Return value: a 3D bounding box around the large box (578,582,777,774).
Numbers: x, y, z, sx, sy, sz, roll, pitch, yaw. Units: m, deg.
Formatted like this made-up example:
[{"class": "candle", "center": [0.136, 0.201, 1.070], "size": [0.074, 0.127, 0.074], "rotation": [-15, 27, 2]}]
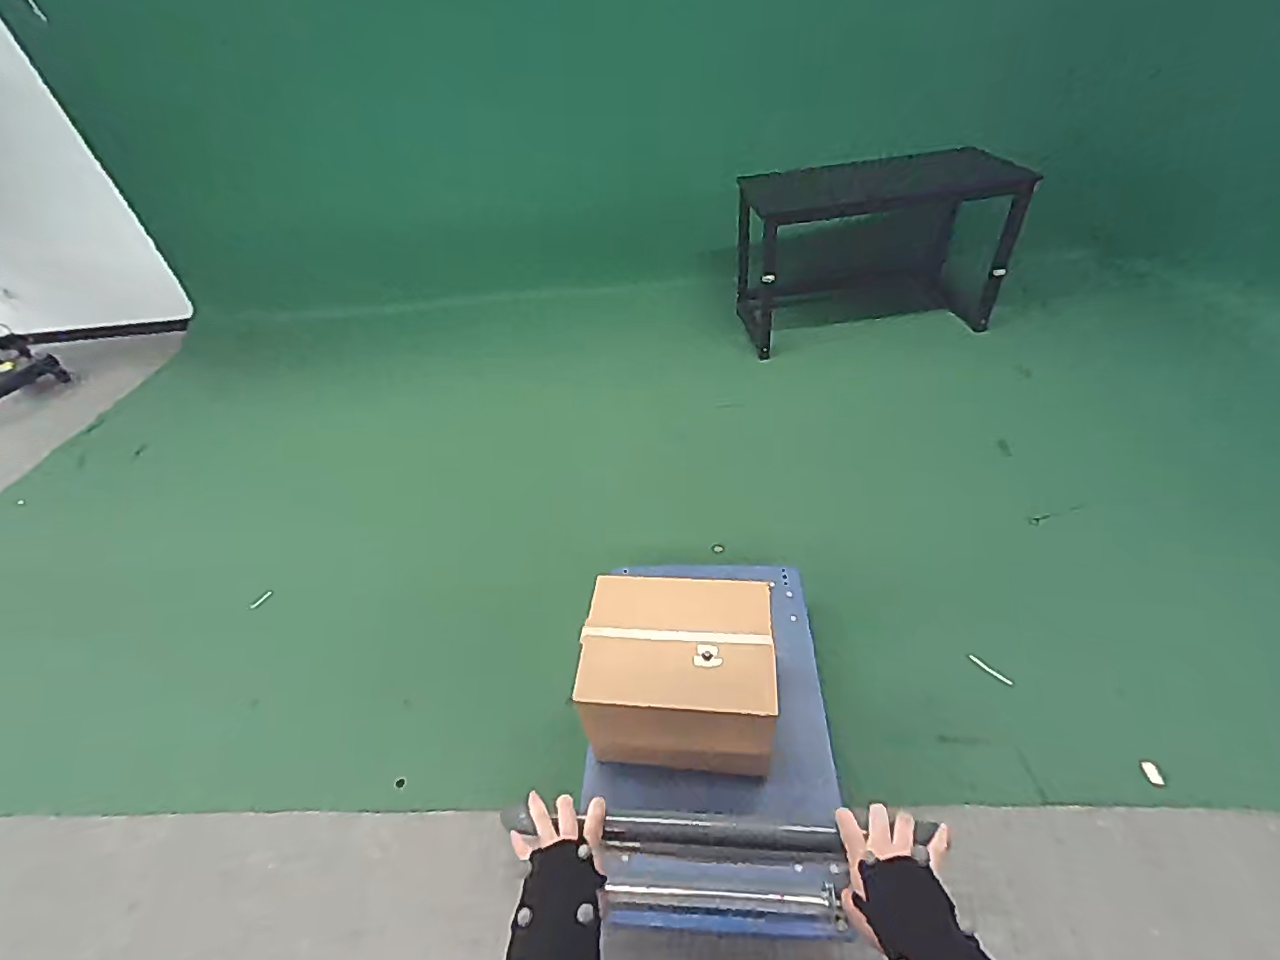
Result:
[{"class": "large box", "center": [0.093, 0.463, 1.275], "size": [0.408, 0.320, 0.320], "rotation": [1, 42, 8]}]
